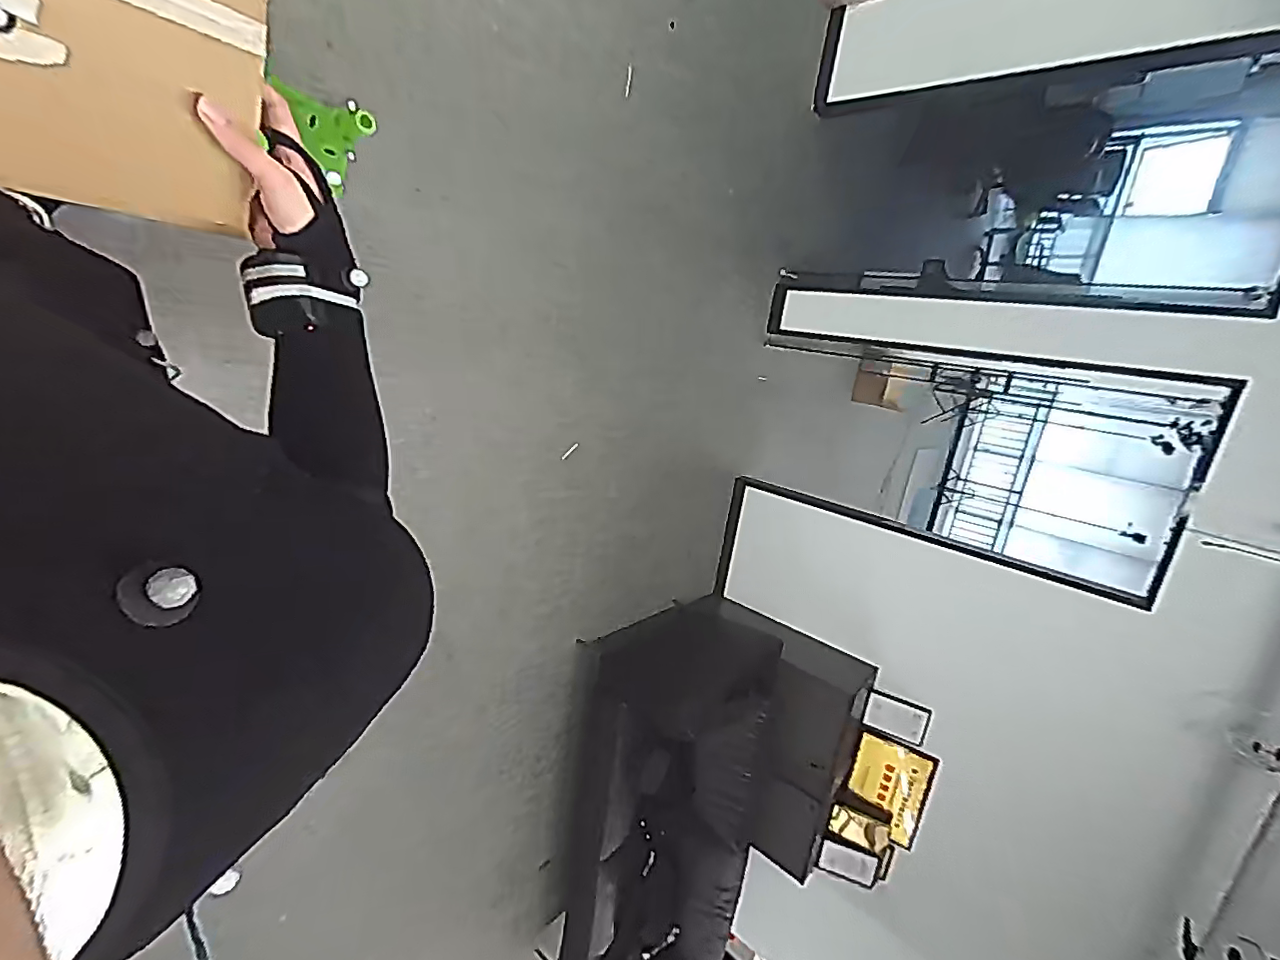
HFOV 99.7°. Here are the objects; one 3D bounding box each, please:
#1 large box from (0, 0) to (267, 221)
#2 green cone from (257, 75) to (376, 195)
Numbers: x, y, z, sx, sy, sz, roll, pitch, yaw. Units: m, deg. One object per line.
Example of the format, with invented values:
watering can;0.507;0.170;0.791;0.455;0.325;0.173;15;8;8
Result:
large box;-0.510;-0.425;0.341;0.408;0.320;0.320;-7;137;-46
green cone;-0.693;-0.790;1.215;0.200;0.368;0.202;1;104;-52
